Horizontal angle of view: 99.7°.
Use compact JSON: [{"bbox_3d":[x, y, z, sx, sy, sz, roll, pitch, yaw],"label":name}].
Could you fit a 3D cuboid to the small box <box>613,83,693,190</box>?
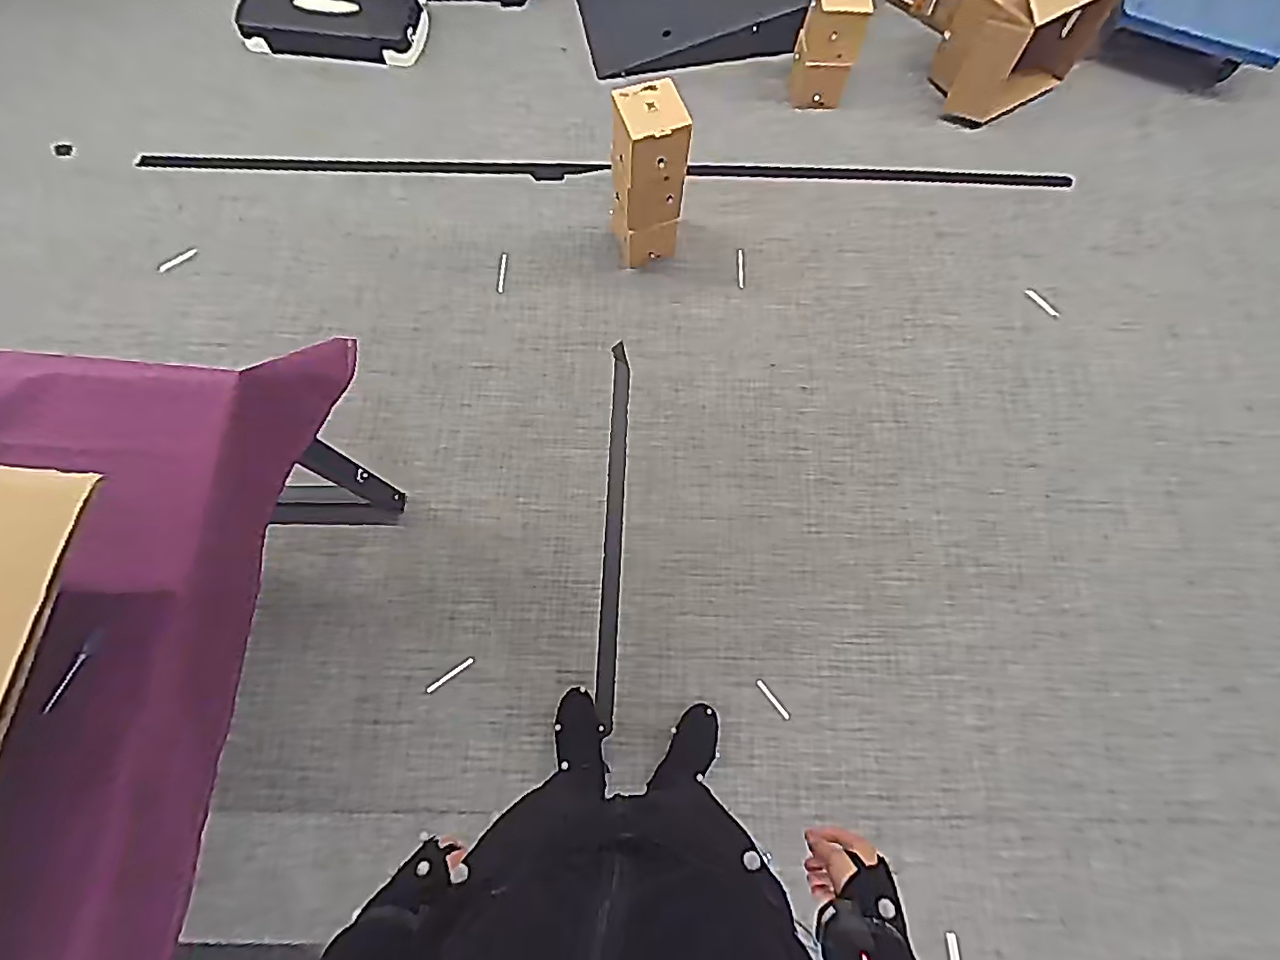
[{"bbox_3d":[0.032,-0.920,1.467,0.168,0.176,0.179,-17,75,-7],"label":"small box"}]
